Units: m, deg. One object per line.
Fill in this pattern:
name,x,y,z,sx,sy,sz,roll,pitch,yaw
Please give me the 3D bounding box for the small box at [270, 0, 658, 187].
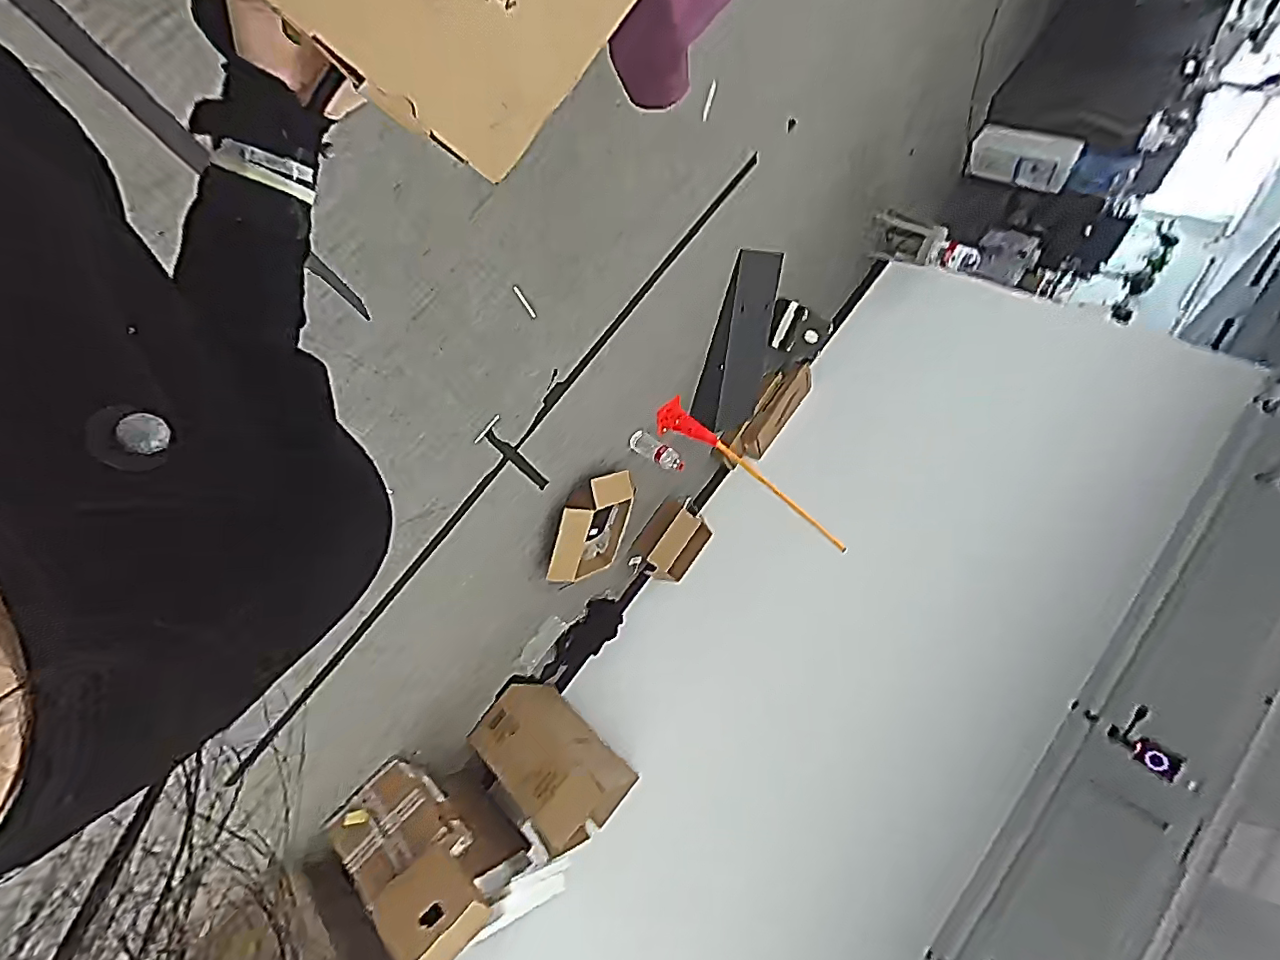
small box,-0.110,-0.308,0.277,0.179,0.176,0.168,-43,169,15
